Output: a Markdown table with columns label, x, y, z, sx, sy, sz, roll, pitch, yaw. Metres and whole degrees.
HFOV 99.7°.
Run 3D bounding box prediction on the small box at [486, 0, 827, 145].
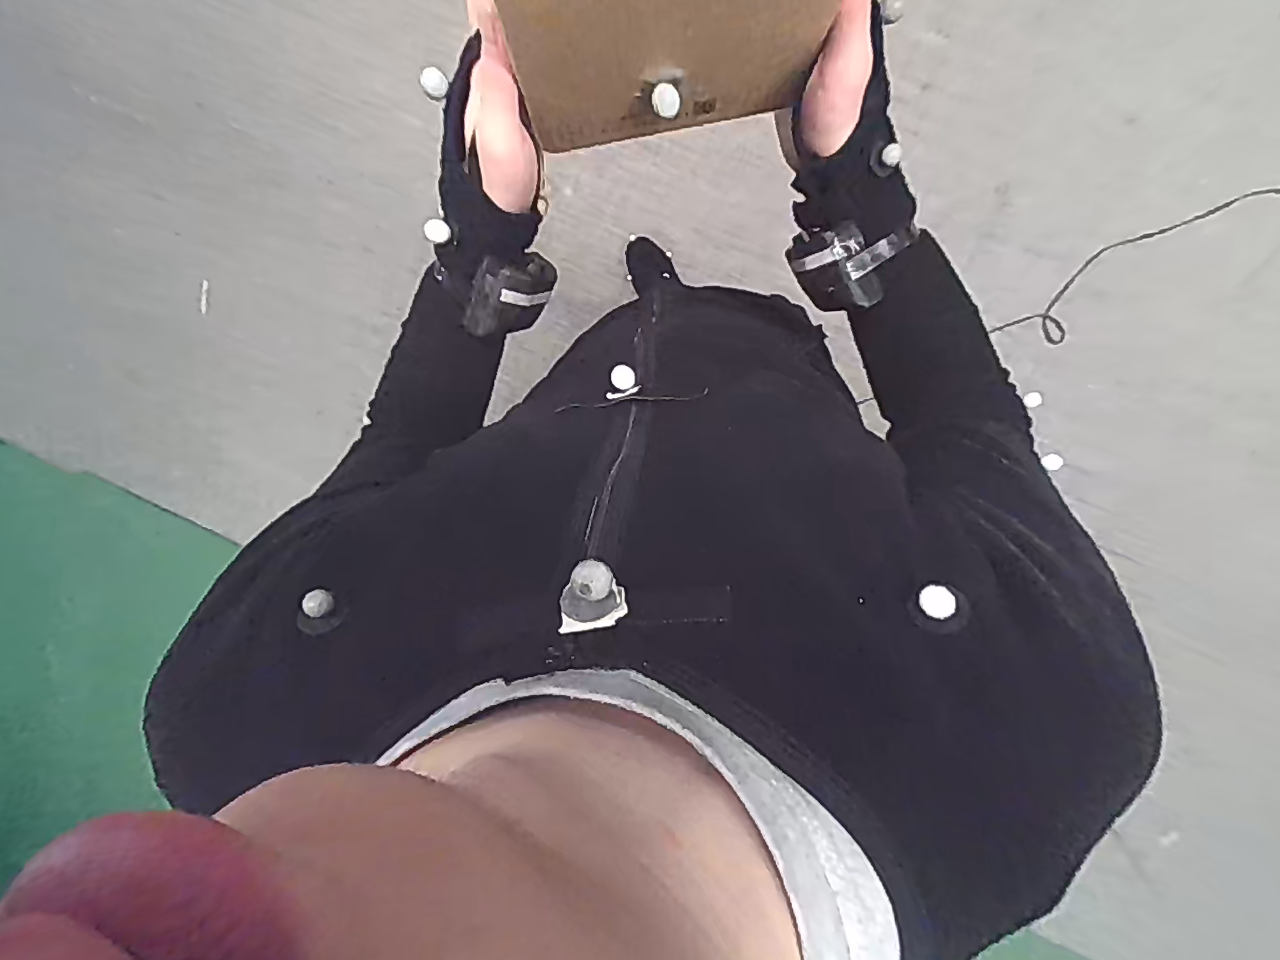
| label | x | y | z | sx | sy | sz | roll | pitch | yaw |
| --- | --- | --- | --- | --- | --- | --- | --- | --- | --- |
| small box | -0.002 | -0.302 | 0.255 | 0.168 | 0.176 | 0.179 | -10 | 94 | 1 |
